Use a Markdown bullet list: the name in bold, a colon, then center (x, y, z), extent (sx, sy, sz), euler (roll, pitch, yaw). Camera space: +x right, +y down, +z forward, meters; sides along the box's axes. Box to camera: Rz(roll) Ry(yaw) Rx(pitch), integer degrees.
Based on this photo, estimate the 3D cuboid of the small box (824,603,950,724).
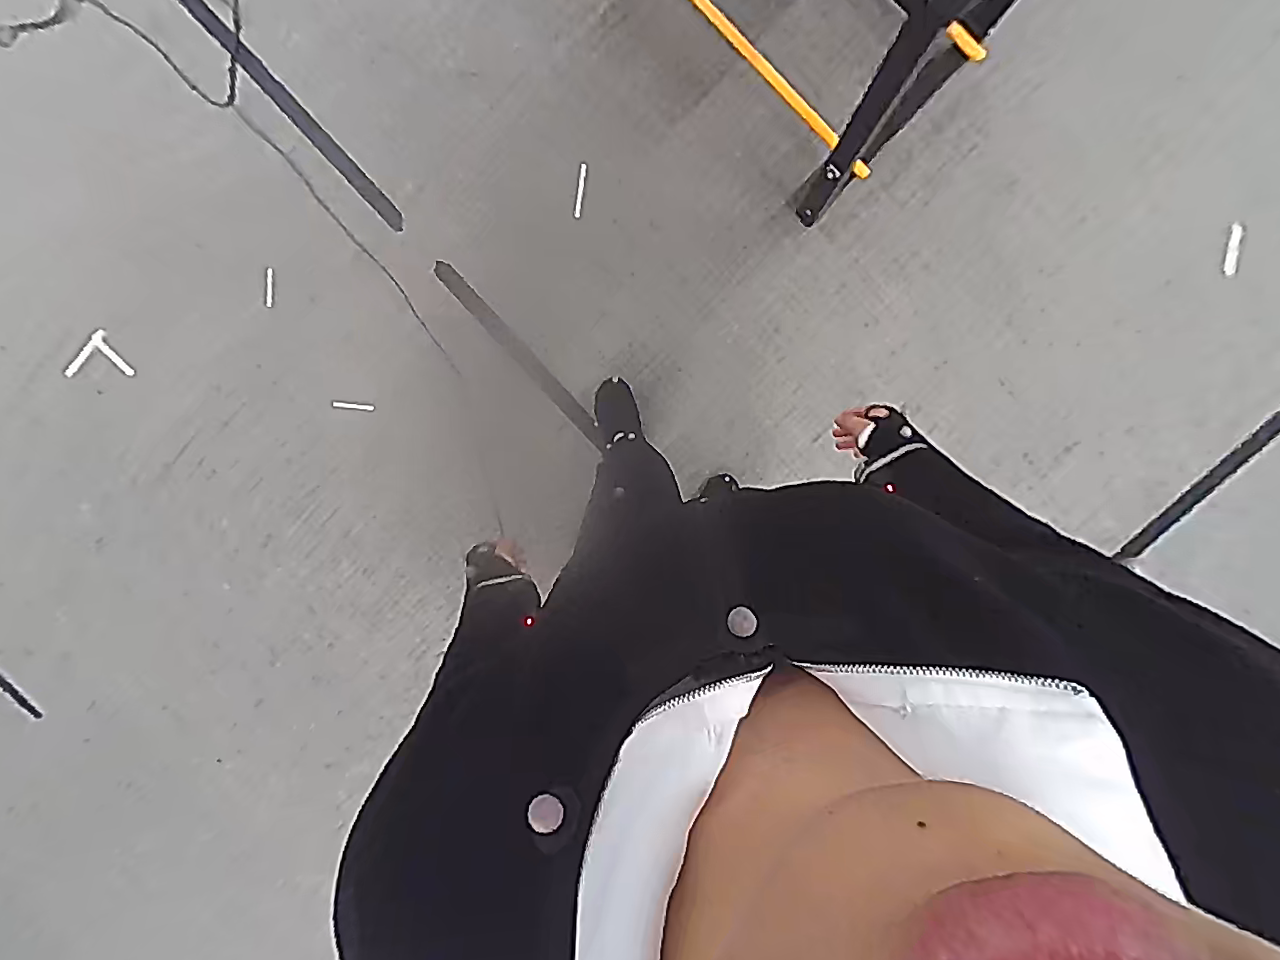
- **small box**: center (0.562, 0.415, 1.255), extent (0.168, 0.176, 0.179), euler (-44, 90, 4)
